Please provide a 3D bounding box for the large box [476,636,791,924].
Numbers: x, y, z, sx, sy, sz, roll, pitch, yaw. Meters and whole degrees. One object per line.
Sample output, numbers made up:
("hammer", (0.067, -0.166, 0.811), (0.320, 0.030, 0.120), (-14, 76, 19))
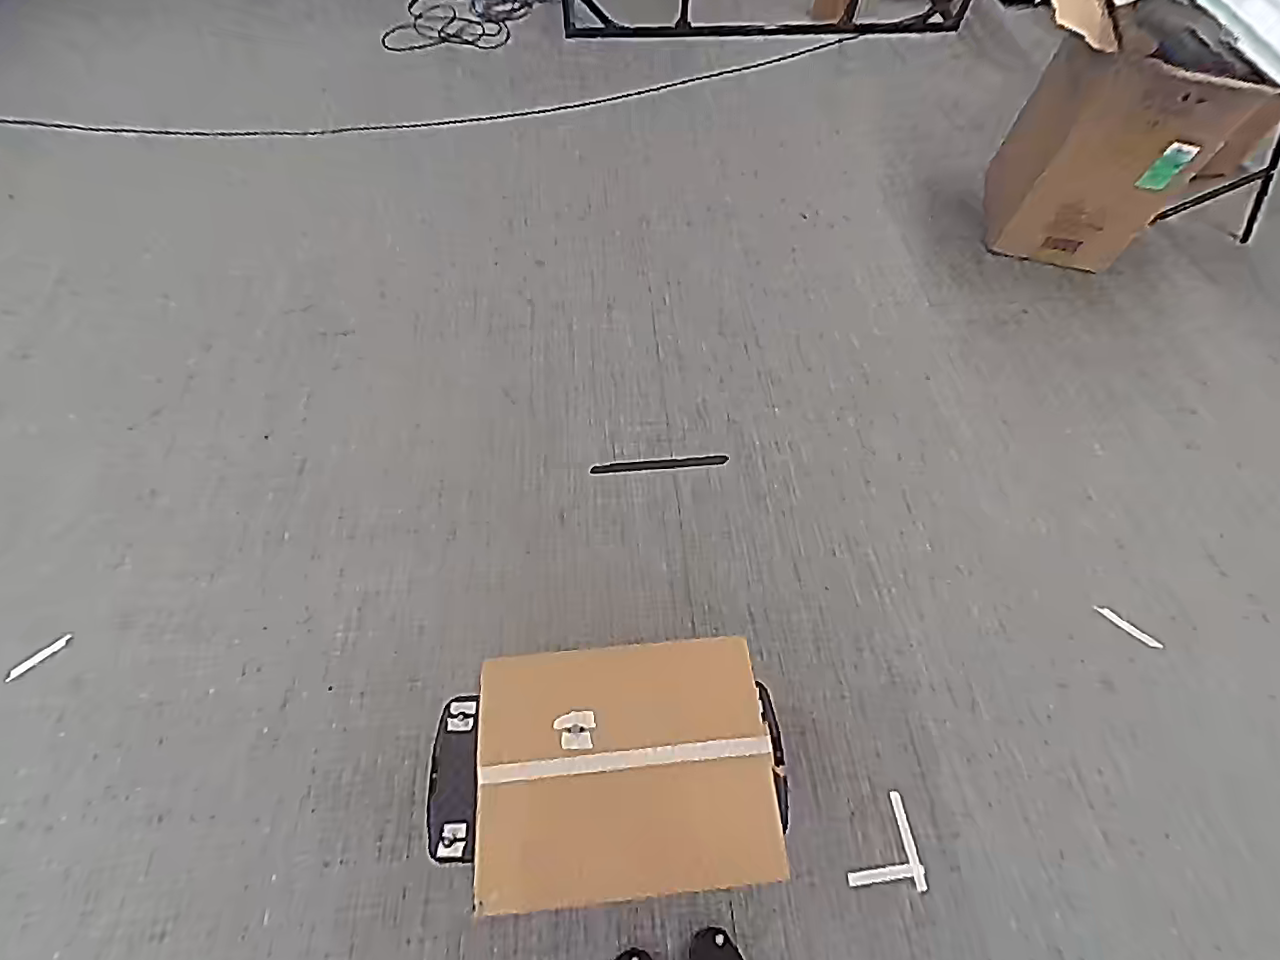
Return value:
("large box", (-0.019, 0.459, 0.872), (0.408, 0.320, 0.320), (-5, 61, -3))
